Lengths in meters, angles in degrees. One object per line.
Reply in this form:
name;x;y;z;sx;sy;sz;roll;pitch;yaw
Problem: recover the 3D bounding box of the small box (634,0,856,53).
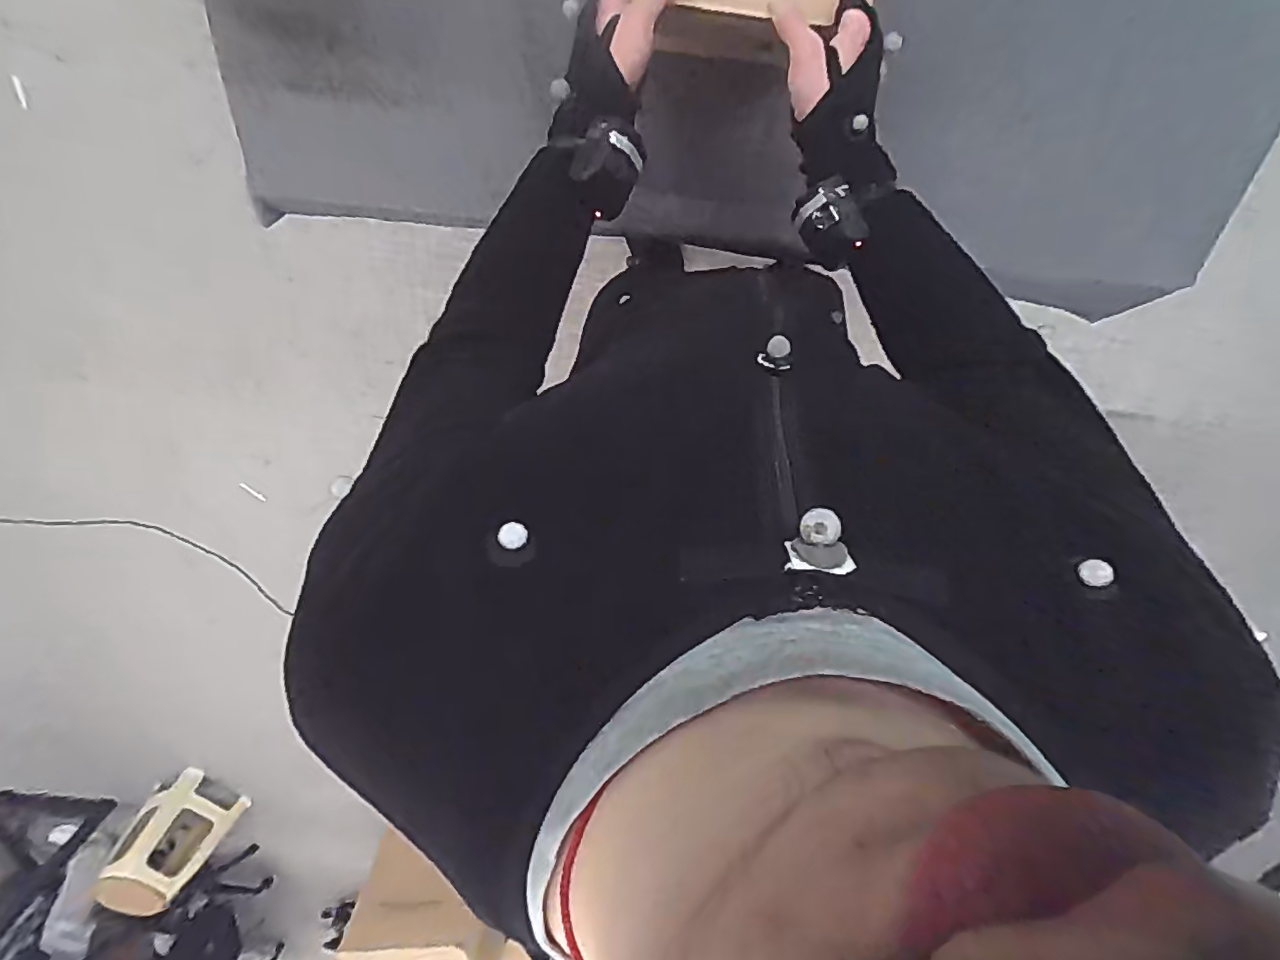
small box;0.090;-0.485;0.455;0.179;0.176;0.168;4;117;-3
